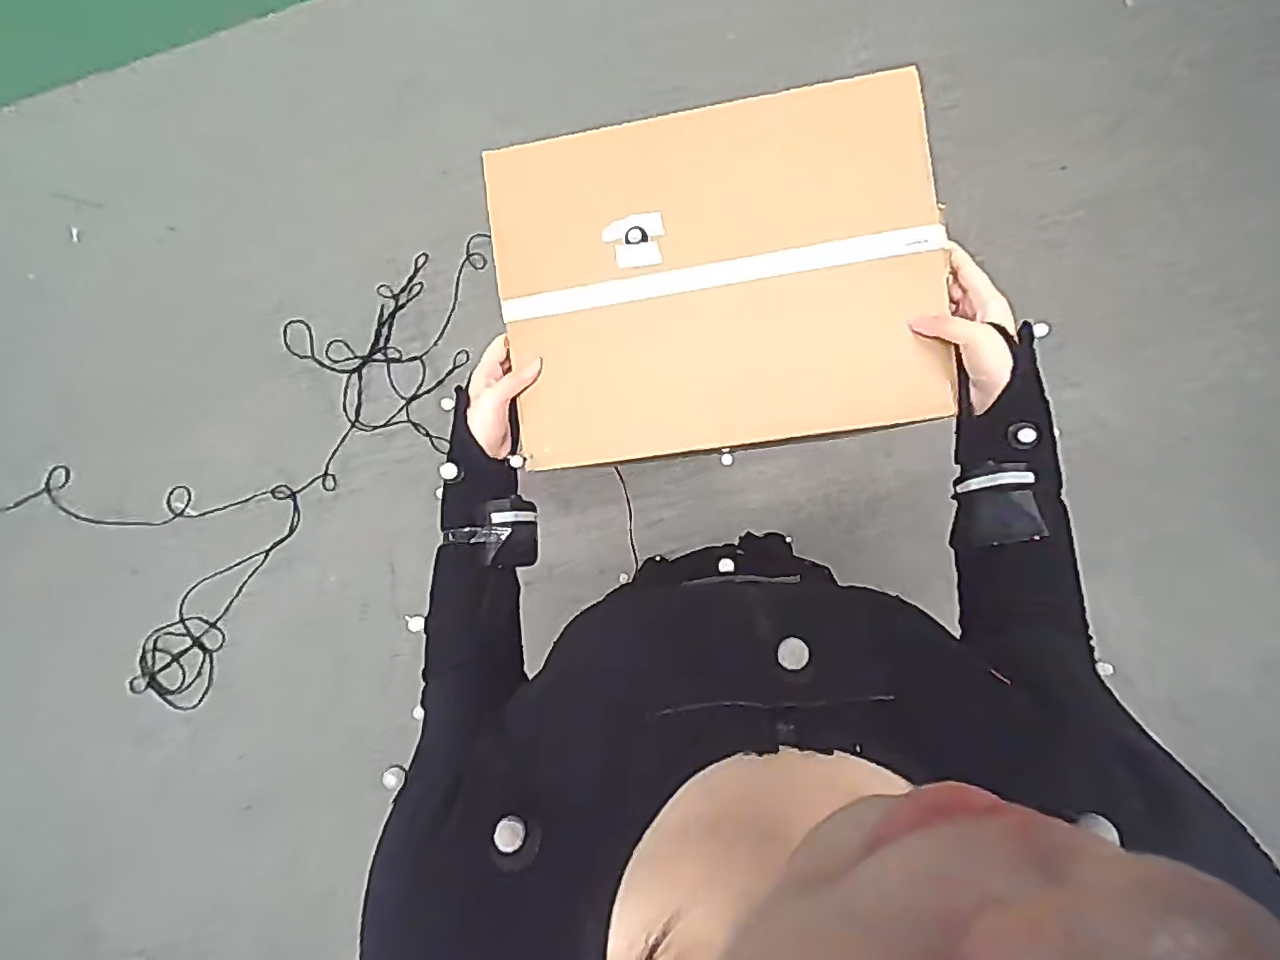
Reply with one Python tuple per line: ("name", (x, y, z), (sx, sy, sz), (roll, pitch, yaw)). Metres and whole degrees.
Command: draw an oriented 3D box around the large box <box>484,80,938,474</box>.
("large box", (0.078, -0.192, 0.665), (0.408, 0.320, 0.320), (-8, 90, 7))
